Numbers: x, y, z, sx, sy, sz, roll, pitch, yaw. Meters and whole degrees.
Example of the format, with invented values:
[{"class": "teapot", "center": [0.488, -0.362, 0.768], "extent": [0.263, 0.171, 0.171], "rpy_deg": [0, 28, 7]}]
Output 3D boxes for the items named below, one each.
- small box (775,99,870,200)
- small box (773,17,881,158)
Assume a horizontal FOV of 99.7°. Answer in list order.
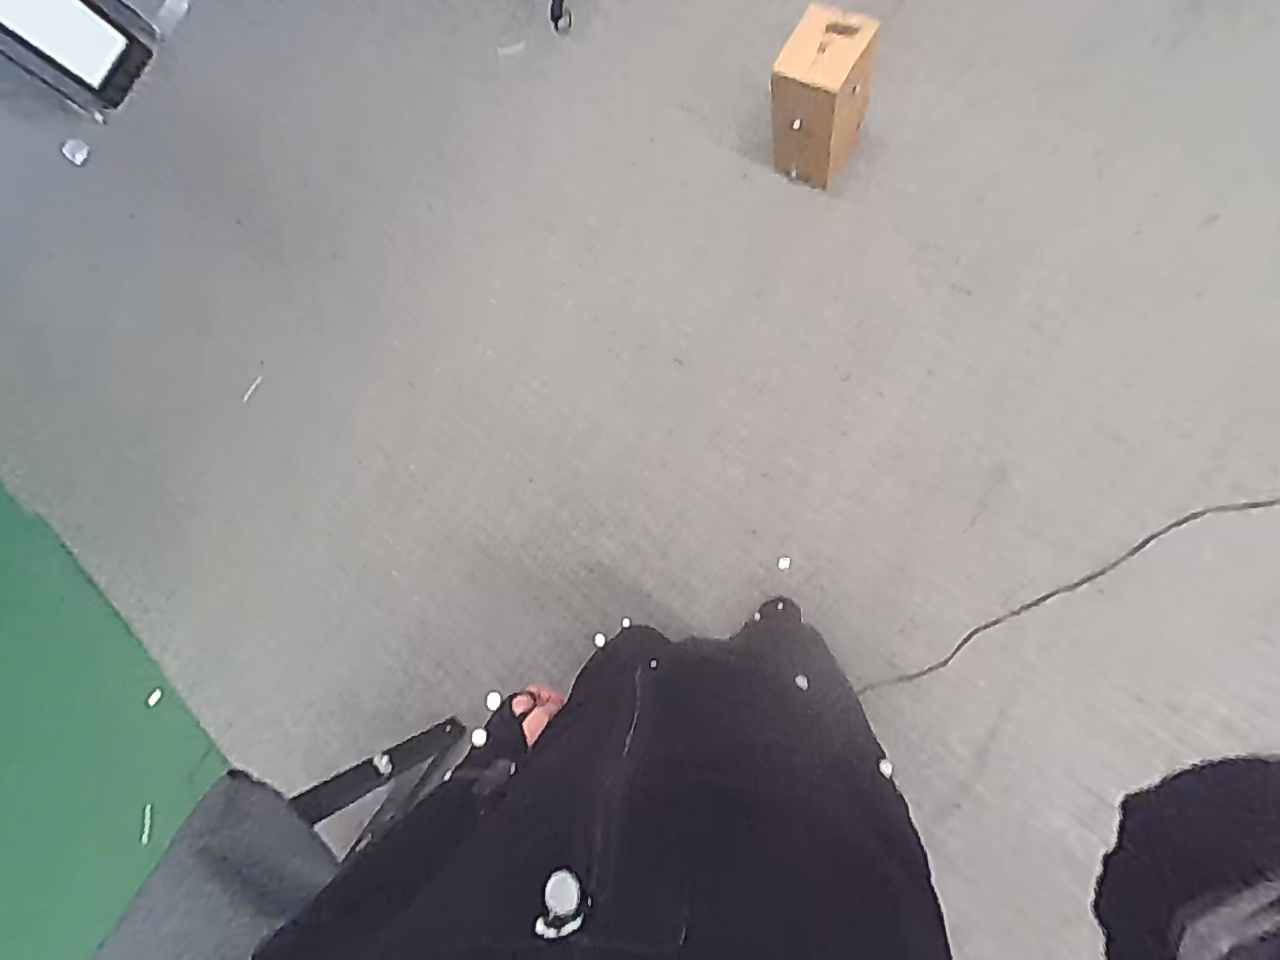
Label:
[{"class": "small box", "center": [0.464, -0.876, 1.404], "extent": [0.168, 0.176, 0.179], "rpy_deg": [33, 91, 17]}, {"class": "small box", "center": [0.420, -0.897, 1.246], "extent": [0.168, 0.176, 0.179], "rpy_deg": [33, 90, 17]}]
